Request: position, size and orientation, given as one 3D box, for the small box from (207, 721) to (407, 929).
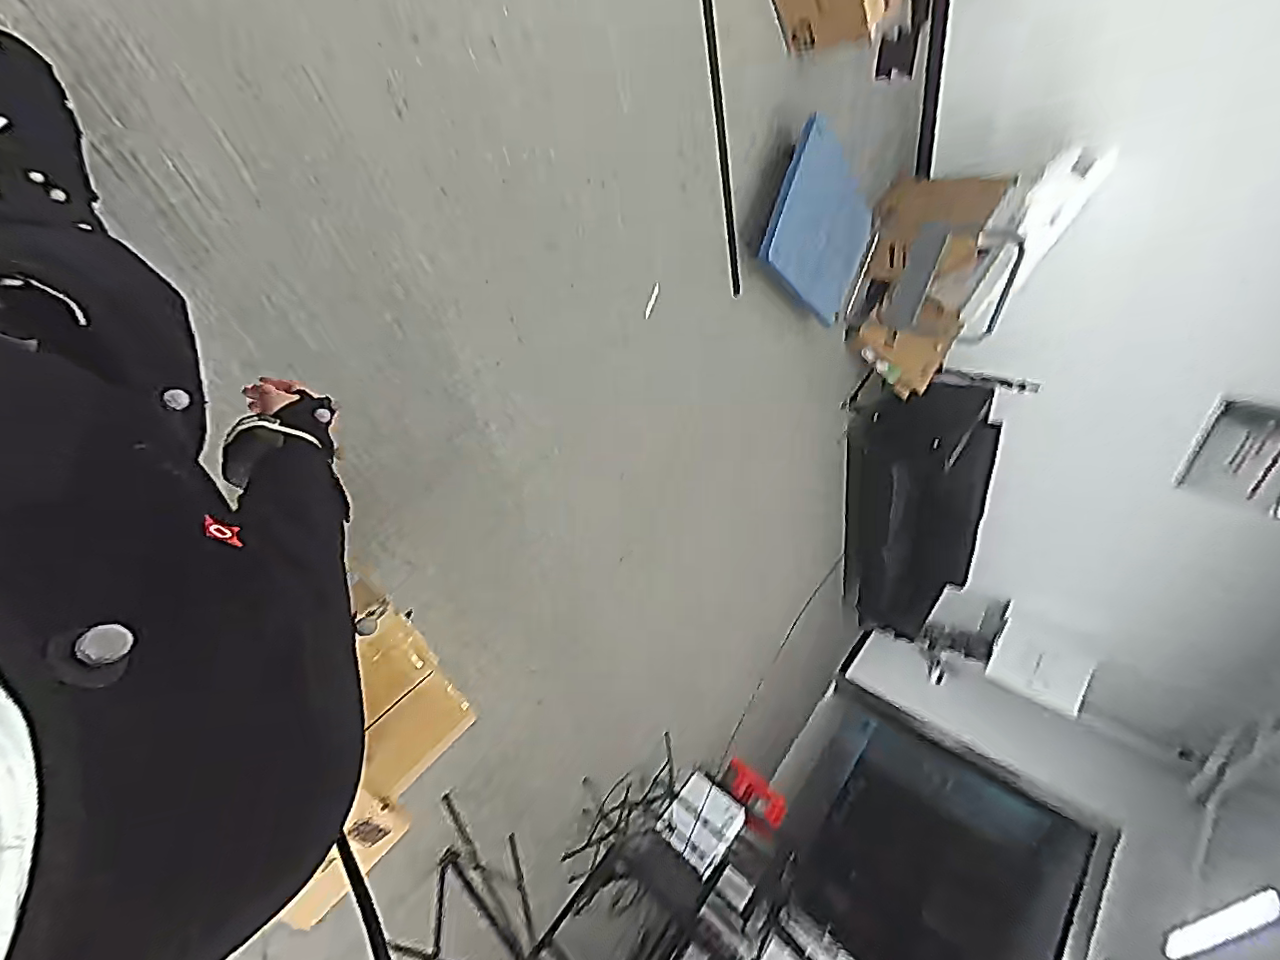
[{"bbox_3d":[-0.496,0.505,0.812,0.179,0.176,0.168,-40,135,-29],"label":"small box"}]
